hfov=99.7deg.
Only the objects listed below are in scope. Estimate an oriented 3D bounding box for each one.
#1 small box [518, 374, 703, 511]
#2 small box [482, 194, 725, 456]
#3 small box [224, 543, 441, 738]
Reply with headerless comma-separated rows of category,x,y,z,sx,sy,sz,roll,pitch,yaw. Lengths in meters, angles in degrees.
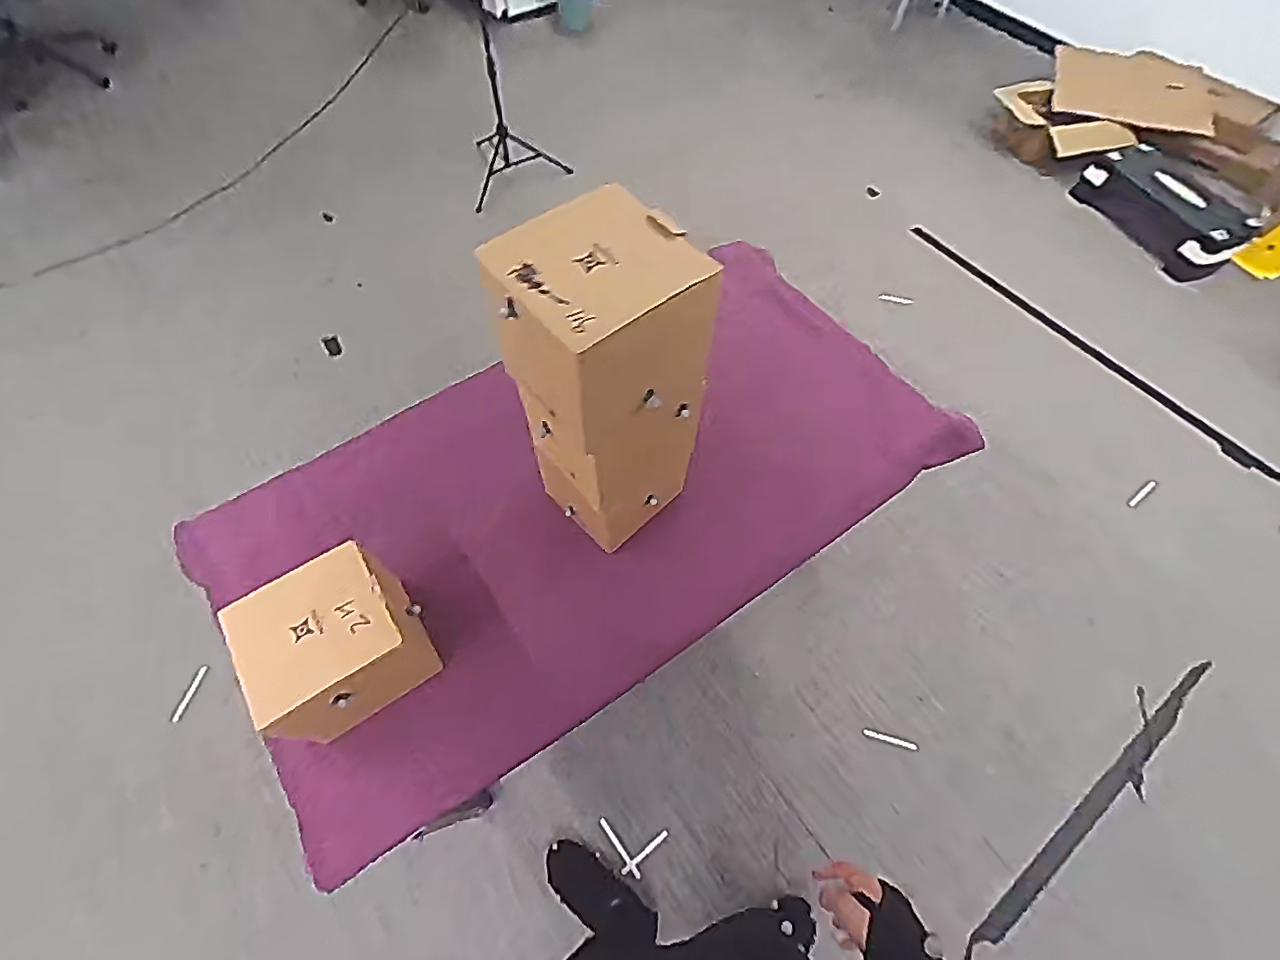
small box,-0.039,-0.088,0.727,0.179,0.176,0.168,-35,68,-19
small box,-0.039,-0.160,0.579,0.179,0.176,0.168,-35,67,-20
small box,-0.399,0.221,0.727,0.179,0.176,0.168,-30,66,-18
